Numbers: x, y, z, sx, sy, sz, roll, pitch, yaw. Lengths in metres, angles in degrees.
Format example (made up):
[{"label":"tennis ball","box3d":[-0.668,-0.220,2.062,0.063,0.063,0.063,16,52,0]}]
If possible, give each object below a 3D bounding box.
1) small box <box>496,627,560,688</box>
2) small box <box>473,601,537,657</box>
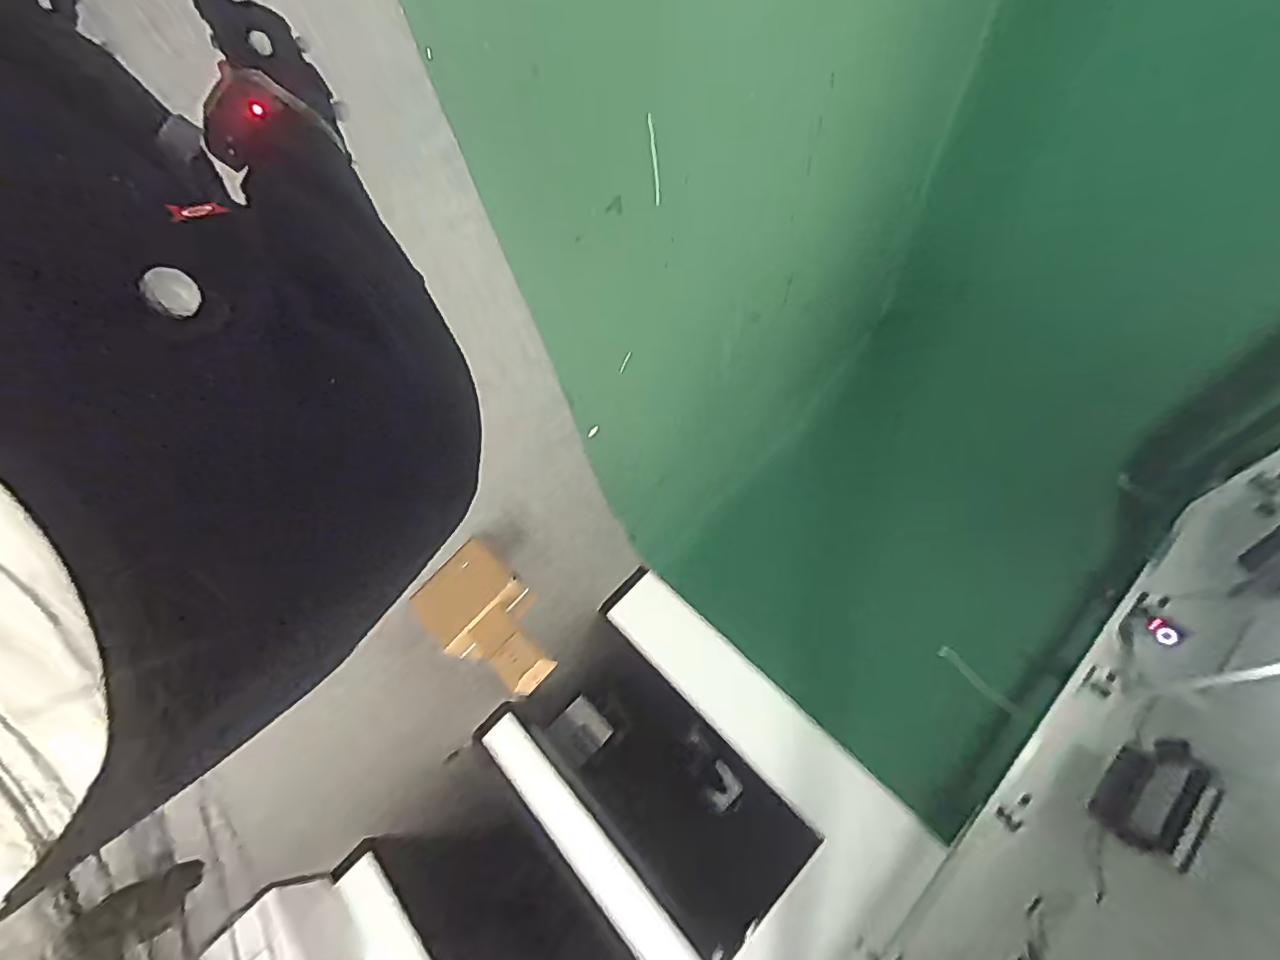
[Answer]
[{"label":"small box","box3d":[-0.473,0.742,2.266,0.168,0.176,0.179,-46,152,-10]},{"label":"small box","box3d":[-0.587,0.651,2.340,0.179,0.176,0.168,-45,152,-9]}]
